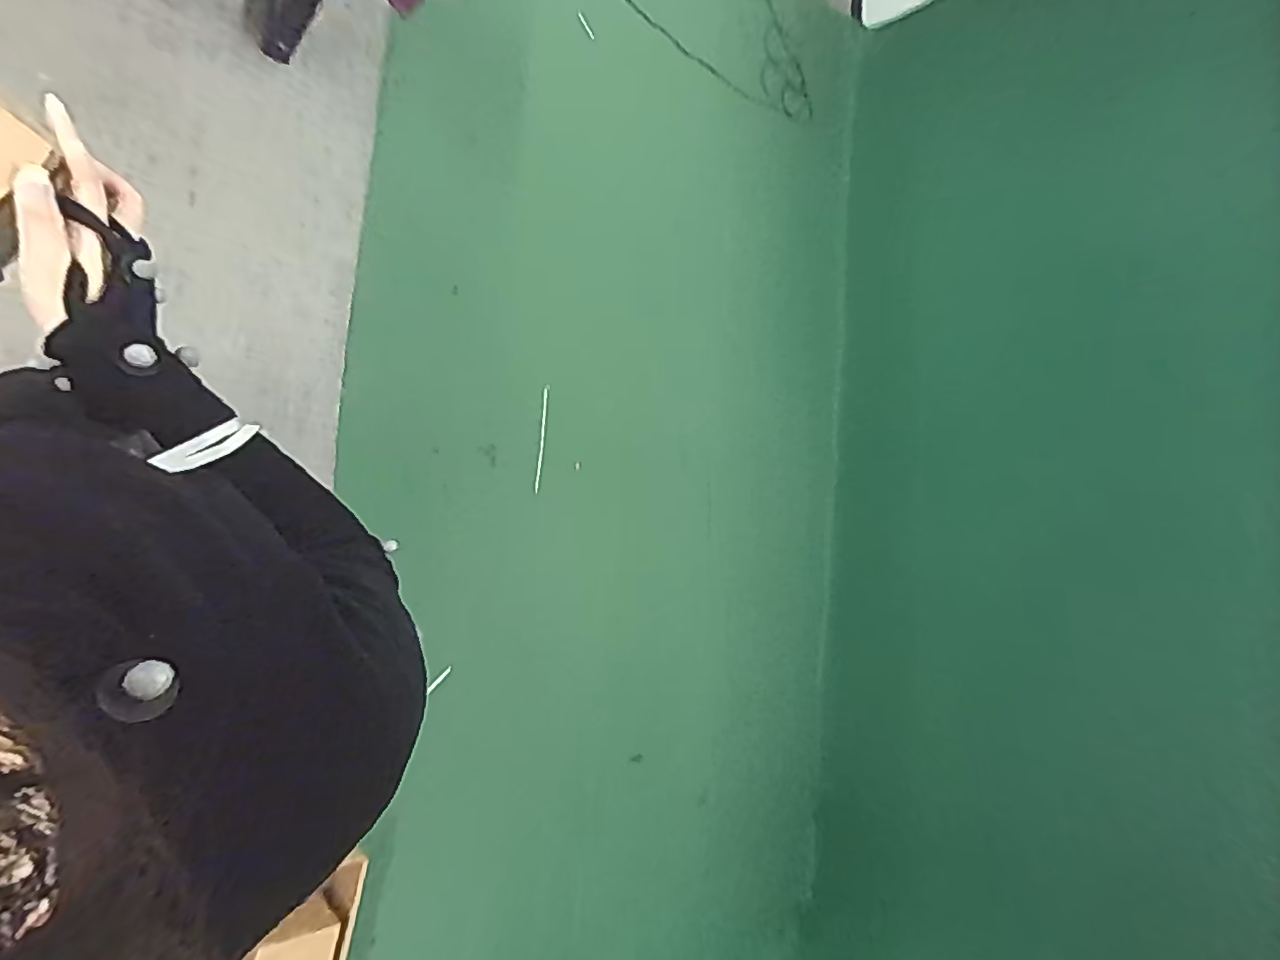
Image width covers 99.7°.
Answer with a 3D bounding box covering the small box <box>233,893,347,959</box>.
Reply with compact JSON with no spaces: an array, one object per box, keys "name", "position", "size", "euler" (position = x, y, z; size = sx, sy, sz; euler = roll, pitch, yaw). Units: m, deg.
[{"name":"small box","position":[-0.796,1.071,1.214],"size":[0.168,0.176,0.179],"euler":[22,74,-44]}]
